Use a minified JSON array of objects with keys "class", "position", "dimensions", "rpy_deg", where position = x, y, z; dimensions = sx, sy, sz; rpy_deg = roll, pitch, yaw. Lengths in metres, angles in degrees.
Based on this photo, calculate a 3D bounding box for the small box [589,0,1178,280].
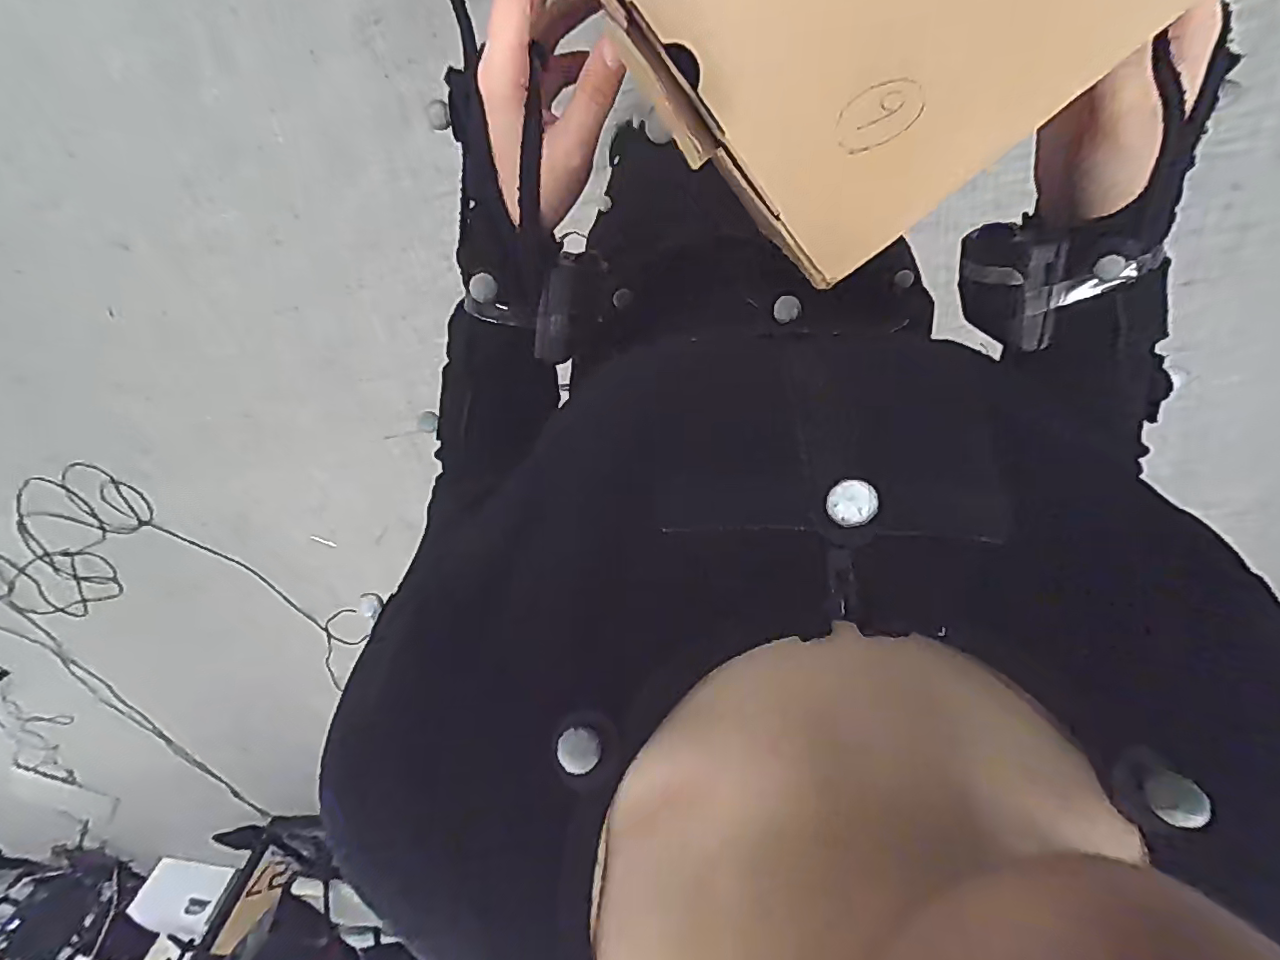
[{"class":"small box","position":[0.082,-0.213,0.214],"dimensions":[0.179,0.176,0.168],"rpy_deg":[-37,110,23]}]
